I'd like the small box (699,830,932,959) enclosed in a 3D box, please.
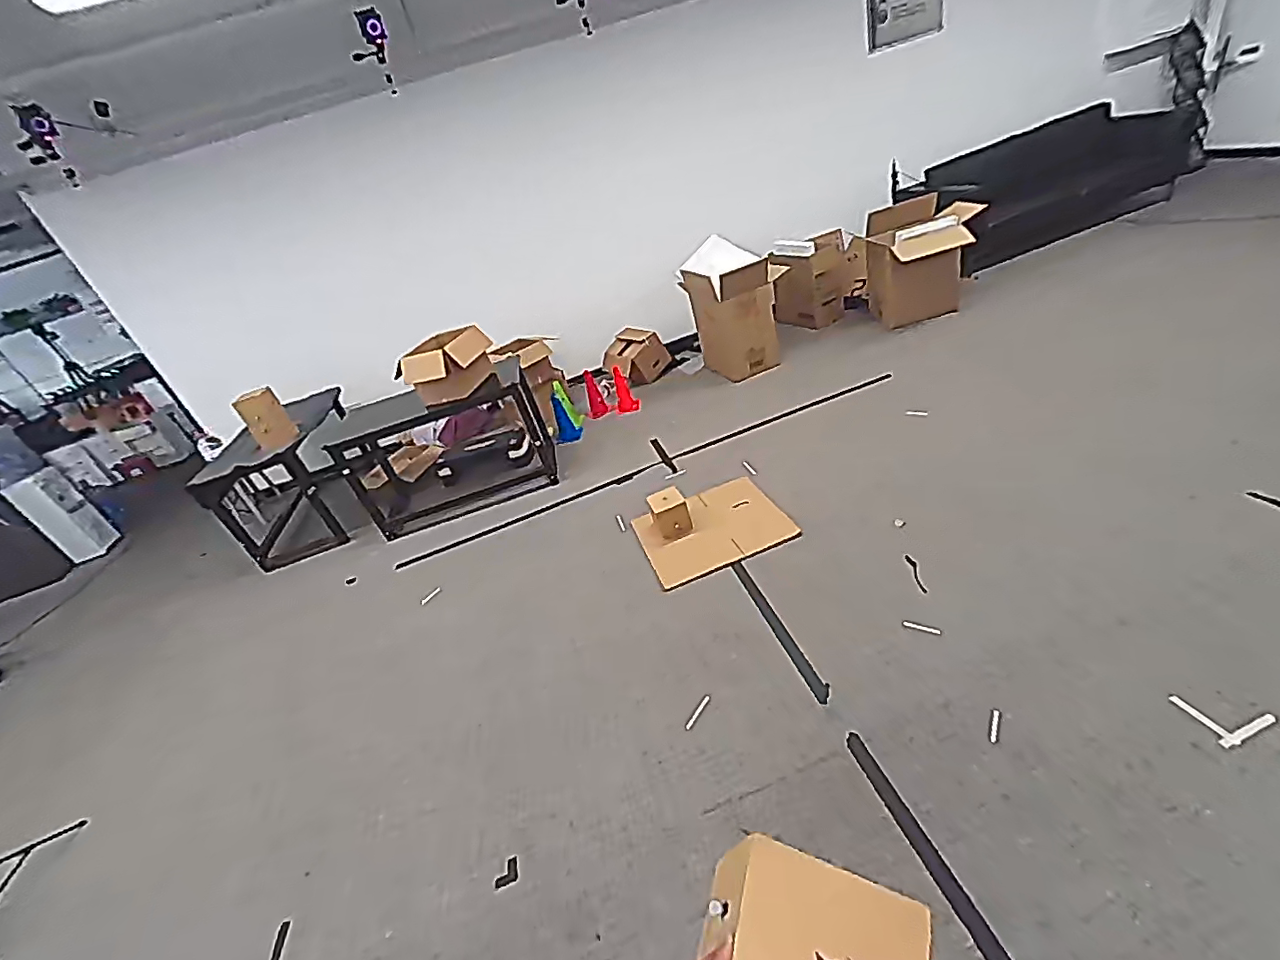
[{"bbox_3d":[0.156,0.479,0.525,0.179,0.176,0.168,19,48,8],"label":"small box"}]

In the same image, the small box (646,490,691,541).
[{"bbox_3d":[0.146,0.182,2.773,0.168,0.176,0.179,-23,31,-6],"label":"small box"}]
